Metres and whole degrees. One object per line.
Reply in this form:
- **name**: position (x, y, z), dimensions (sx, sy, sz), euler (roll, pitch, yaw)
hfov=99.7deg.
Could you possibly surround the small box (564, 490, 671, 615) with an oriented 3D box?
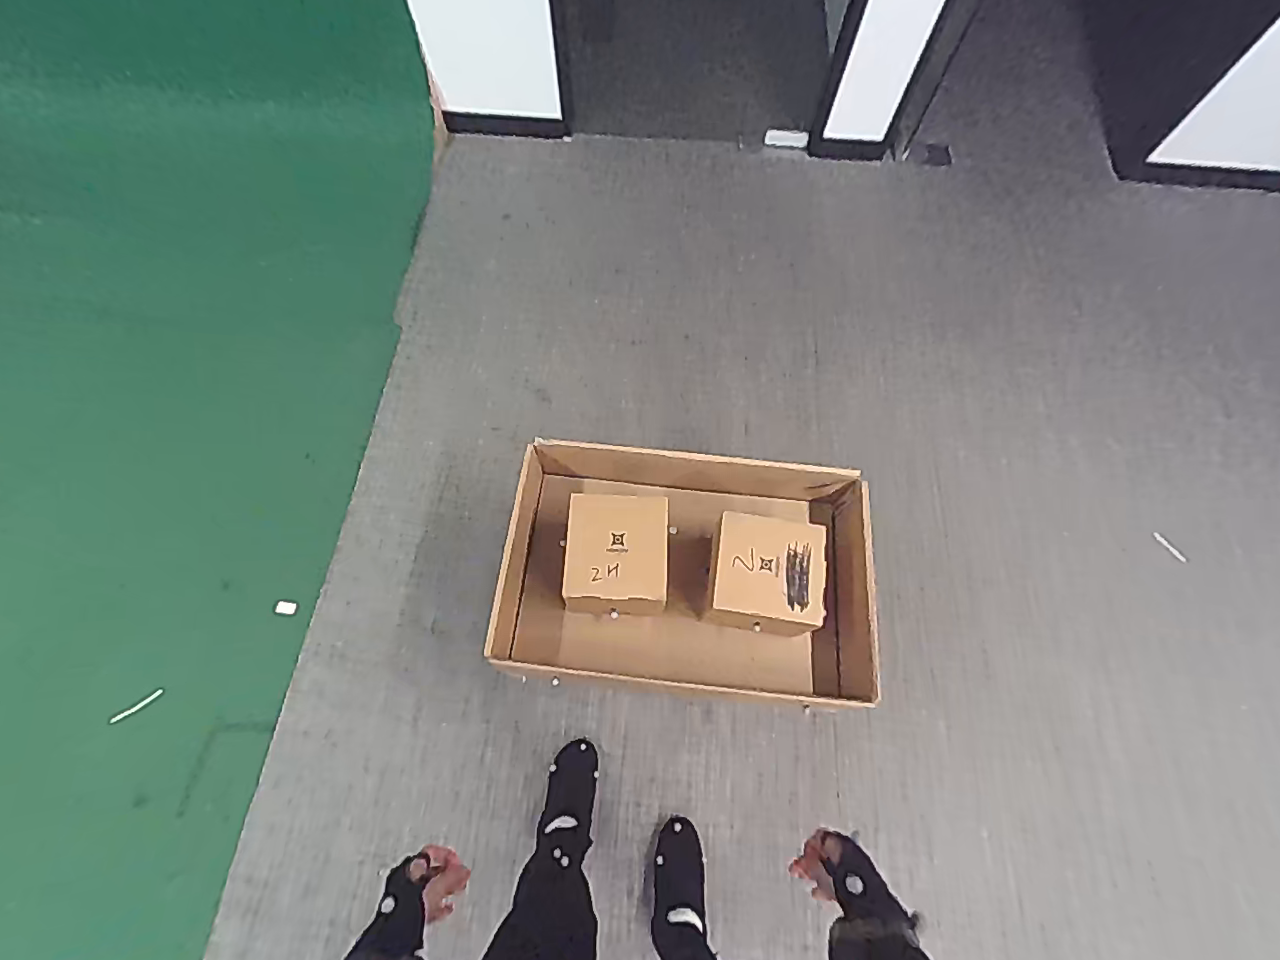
- **small box**: position (-0.036, 0.131, 0.950), dimensions (0.168, 0.176, 0.179), euler (3, 68, 0)
